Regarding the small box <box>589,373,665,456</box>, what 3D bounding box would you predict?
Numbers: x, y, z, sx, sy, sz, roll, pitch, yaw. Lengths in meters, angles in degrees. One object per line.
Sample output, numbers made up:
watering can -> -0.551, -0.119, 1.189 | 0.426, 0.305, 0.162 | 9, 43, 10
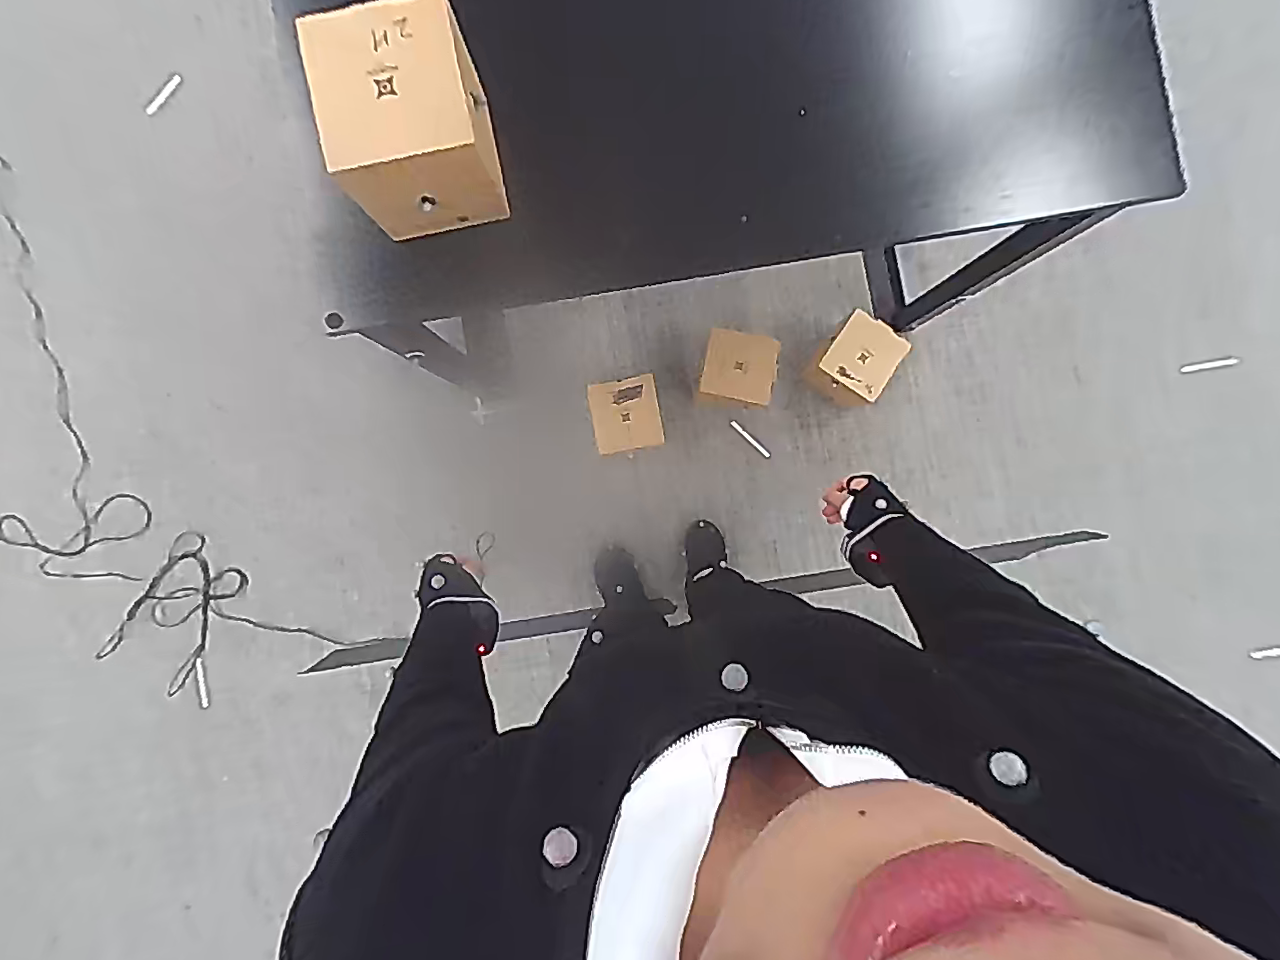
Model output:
small box -> -0.034, -0.163, 1.398 | 0.168, 0.176, 0.179 | -11, 91, 0

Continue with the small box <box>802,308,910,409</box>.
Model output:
small box -> 0.546, -0.306, 1.398 | 0.168, 0.176, 0.179 | 34, 90, 1

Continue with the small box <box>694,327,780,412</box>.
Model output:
small box -> 0.245, -0.278, 1.401 | 0.179, 0.176, 0.168 | 11, 89, 1

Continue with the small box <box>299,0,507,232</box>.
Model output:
small box -> -0.276, -0.432, 0.669 | 0.168, 0.176, 0.179 | -12, 89, -1
